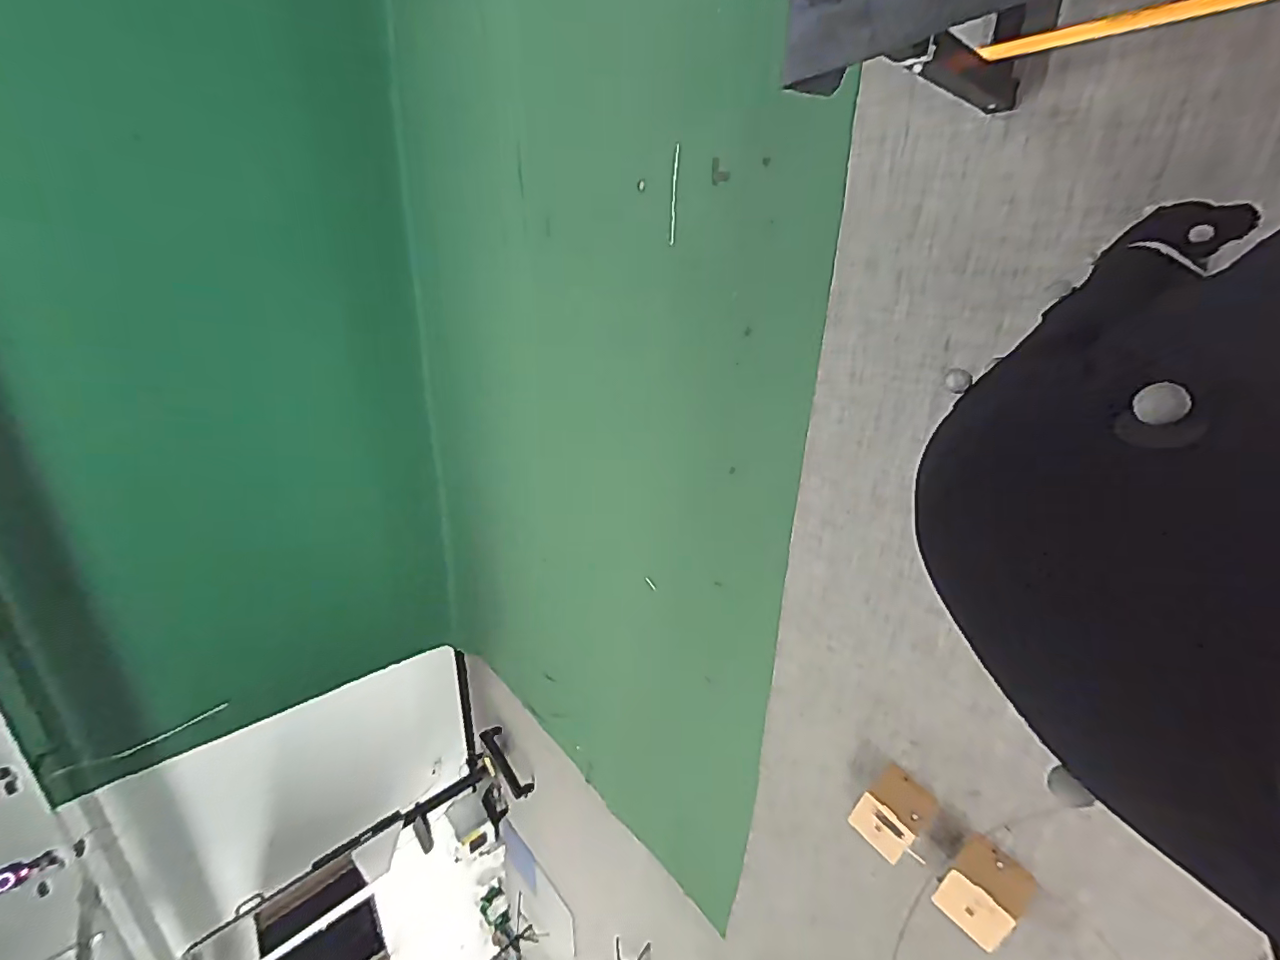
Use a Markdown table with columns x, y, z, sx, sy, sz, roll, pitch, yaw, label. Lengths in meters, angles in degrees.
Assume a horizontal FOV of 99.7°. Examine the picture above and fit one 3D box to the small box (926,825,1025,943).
| x | y | z | sx | sy | sz | roll | pitch | yaw | label |
| --- | --- | --- | --- | --- | --- | --- | --- | --- | --- |
| 0.956 | 1.142 | 1.537 | 0.168 | 0.176 | 0.179 | 33 | 125 | 38 | small box |
